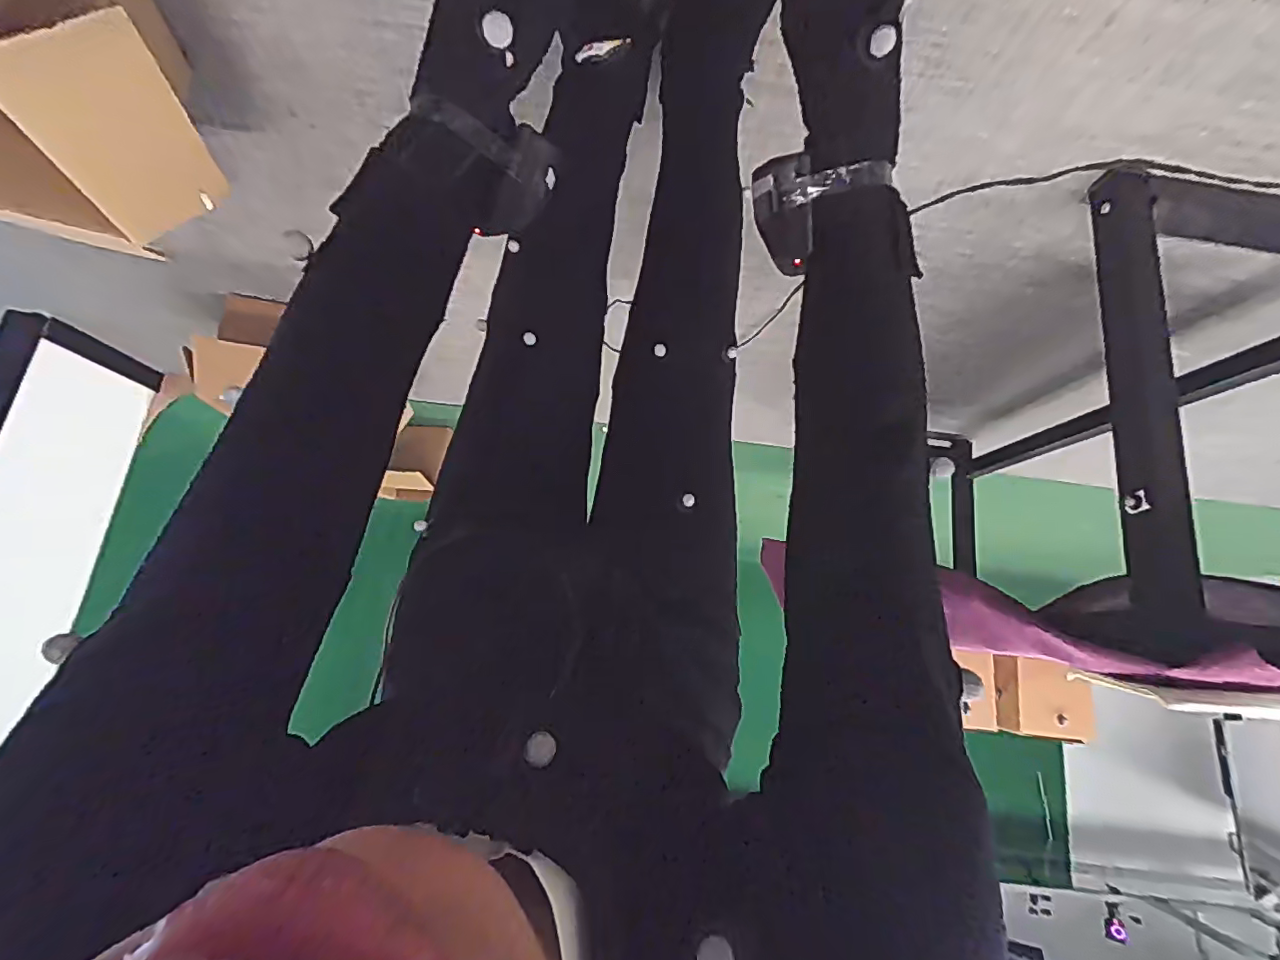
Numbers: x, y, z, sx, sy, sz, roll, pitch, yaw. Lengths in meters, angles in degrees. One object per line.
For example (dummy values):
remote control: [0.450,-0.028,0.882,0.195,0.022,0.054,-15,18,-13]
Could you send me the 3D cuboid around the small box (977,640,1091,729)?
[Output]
small box: [0.910,0.476,1.280,0.179,0.176,0.168,7,166,-3]
